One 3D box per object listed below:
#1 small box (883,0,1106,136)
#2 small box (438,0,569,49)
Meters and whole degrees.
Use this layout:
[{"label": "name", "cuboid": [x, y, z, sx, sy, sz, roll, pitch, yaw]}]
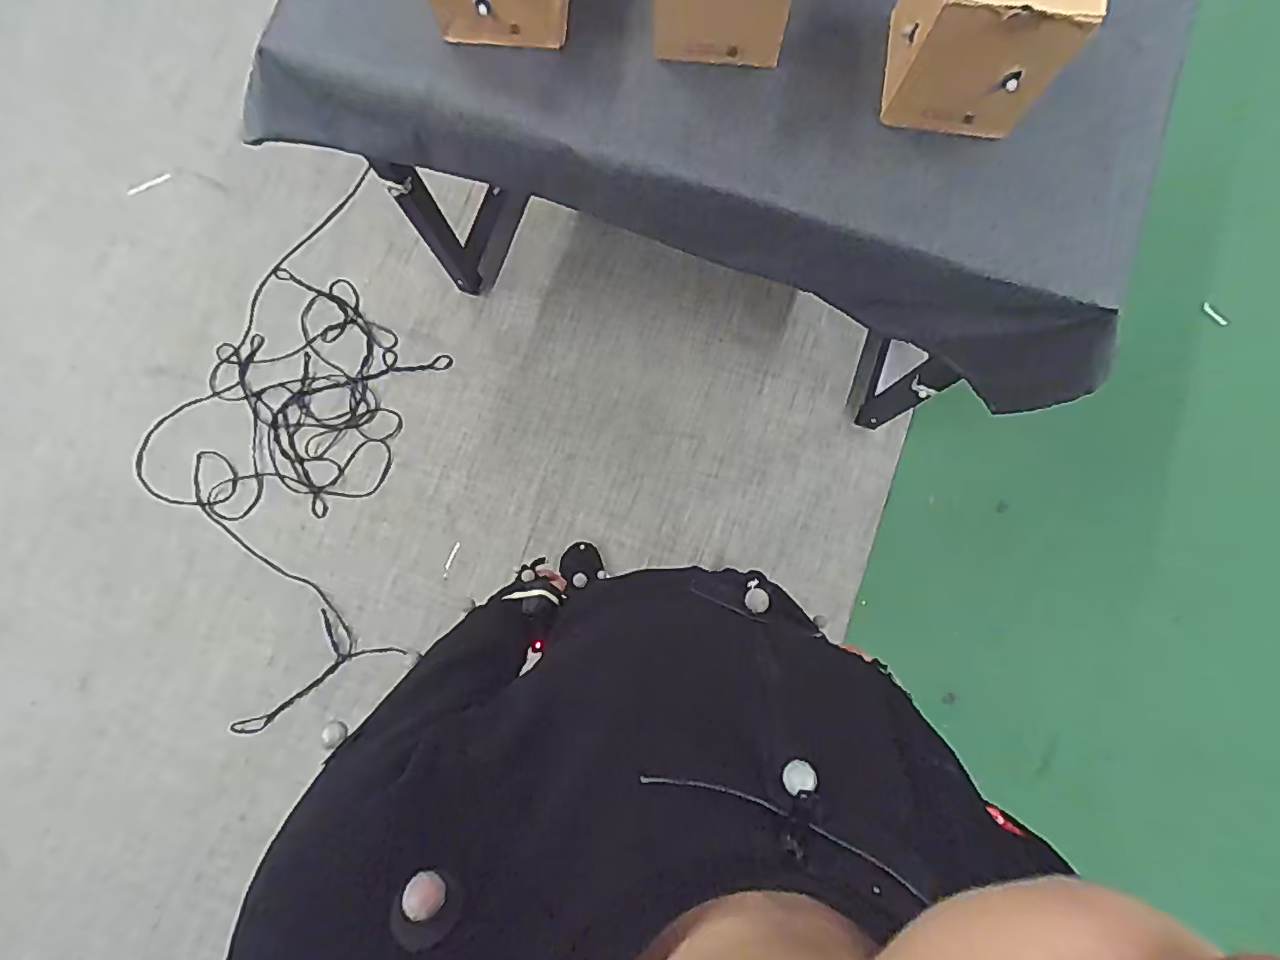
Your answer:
[{"label": "small box", "cuboid": [0.412, -0.557, 0.651, 0.168, 0.176, 0.179, 9, 81, 1]}, {"label": "small box", "cuboid": [-0.180, -0.698, 0.679, 0.168, 0.176, 0.179, 4, 82, 1]}]
